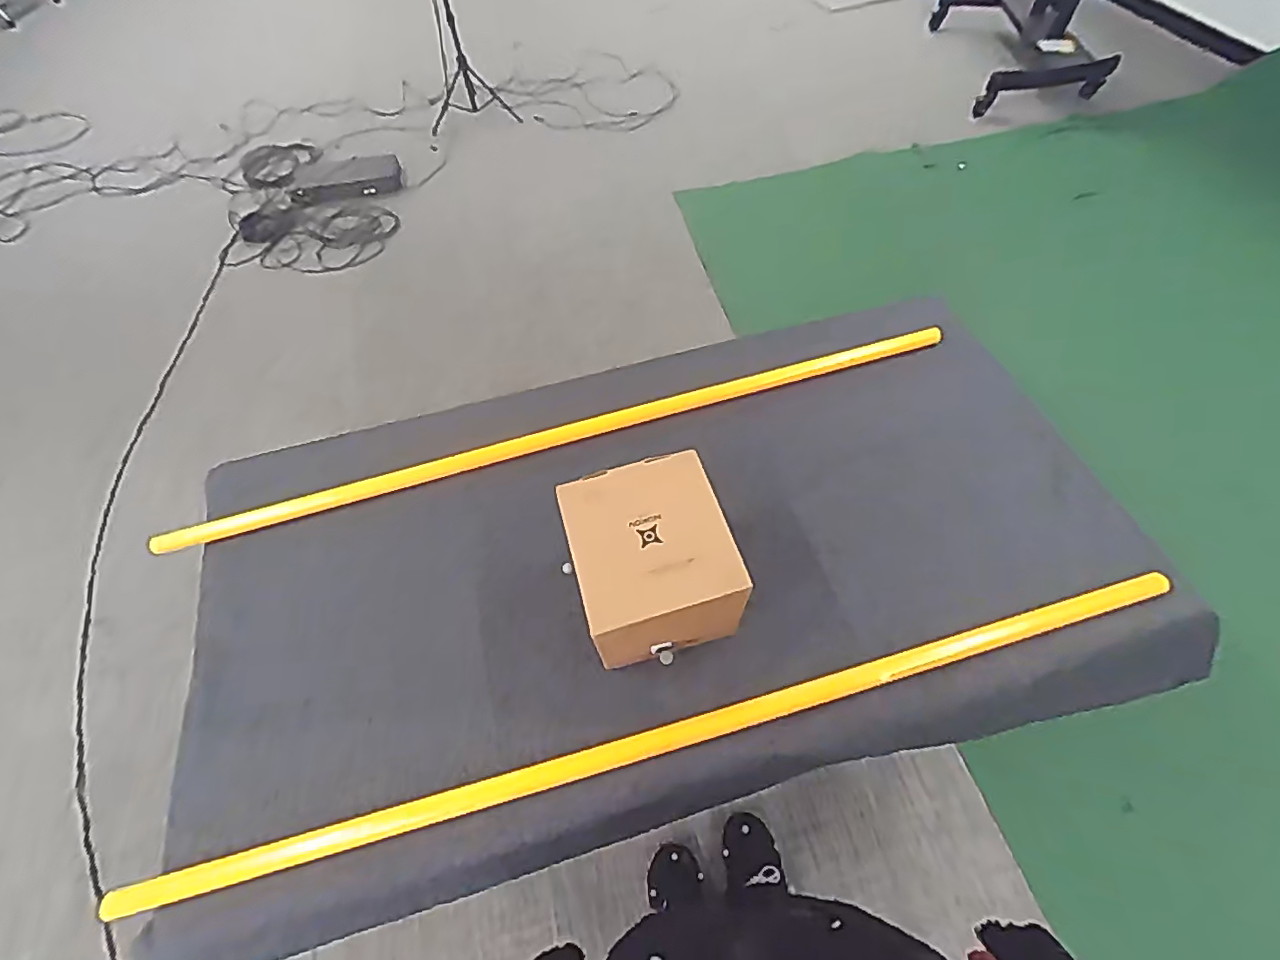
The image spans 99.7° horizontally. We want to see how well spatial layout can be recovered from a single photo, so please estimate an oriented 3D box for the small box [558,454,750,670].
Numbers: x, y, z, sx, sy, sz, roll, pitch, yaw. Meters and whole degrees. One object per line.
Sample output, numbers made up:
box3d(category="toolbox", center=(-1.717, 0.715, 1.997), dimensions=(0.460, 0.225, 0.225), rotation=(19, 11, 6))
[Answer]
box3d(category="small box", center=(0.012, 0.101, 0.637), dimensions=(0.168, 0.176, 0.179), rotation=(-16, 60, -6))
